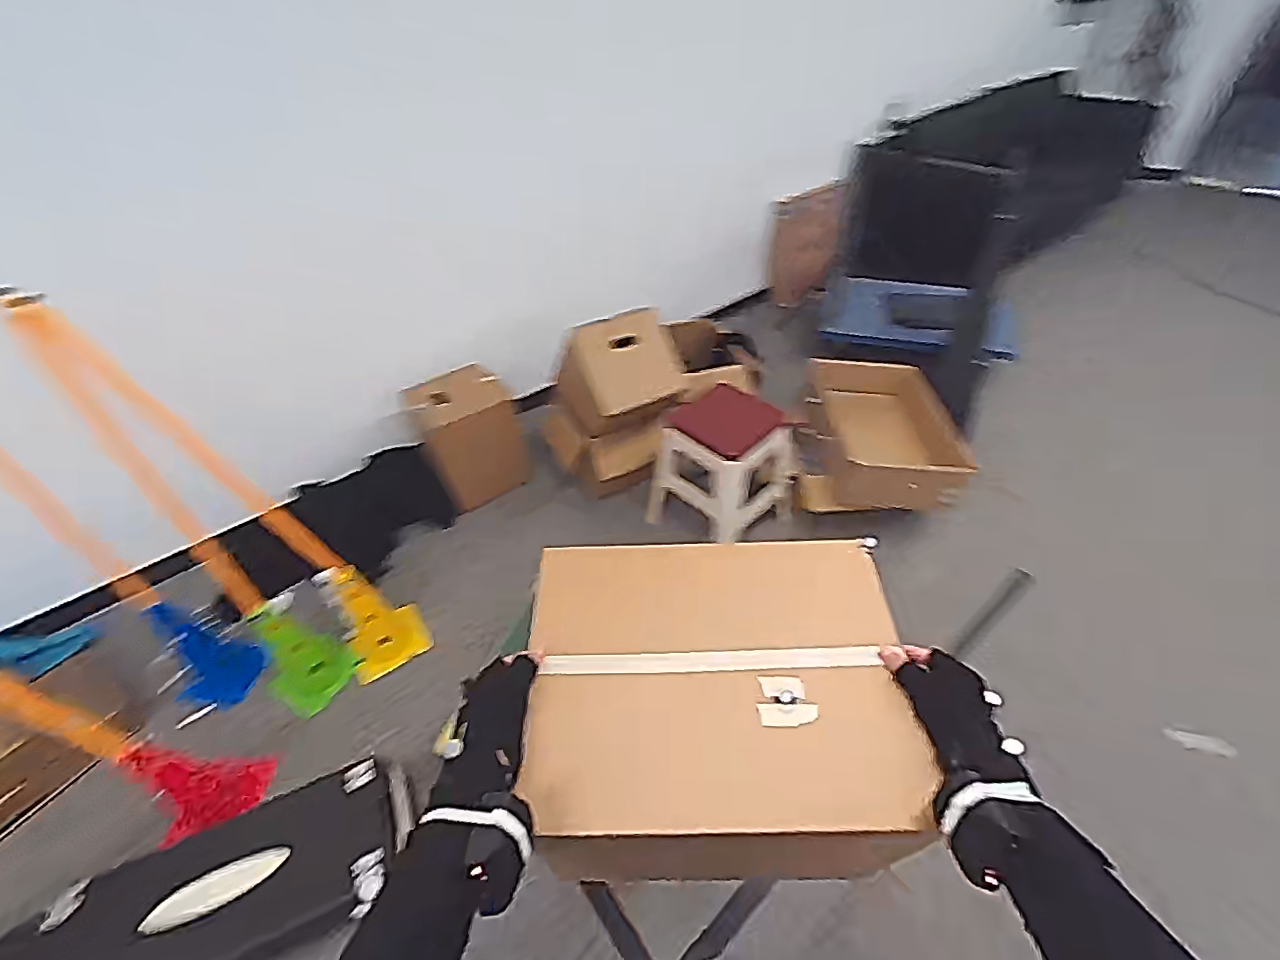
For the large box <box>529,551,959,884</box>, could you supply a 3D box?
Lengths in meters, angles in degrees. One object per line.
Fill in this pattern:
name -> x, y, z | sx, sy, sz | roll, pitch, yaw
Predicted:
large box -> 0.096, 0.309, 0.701 | 0.408, 0.320, 0.320 | -1, 48, 2
